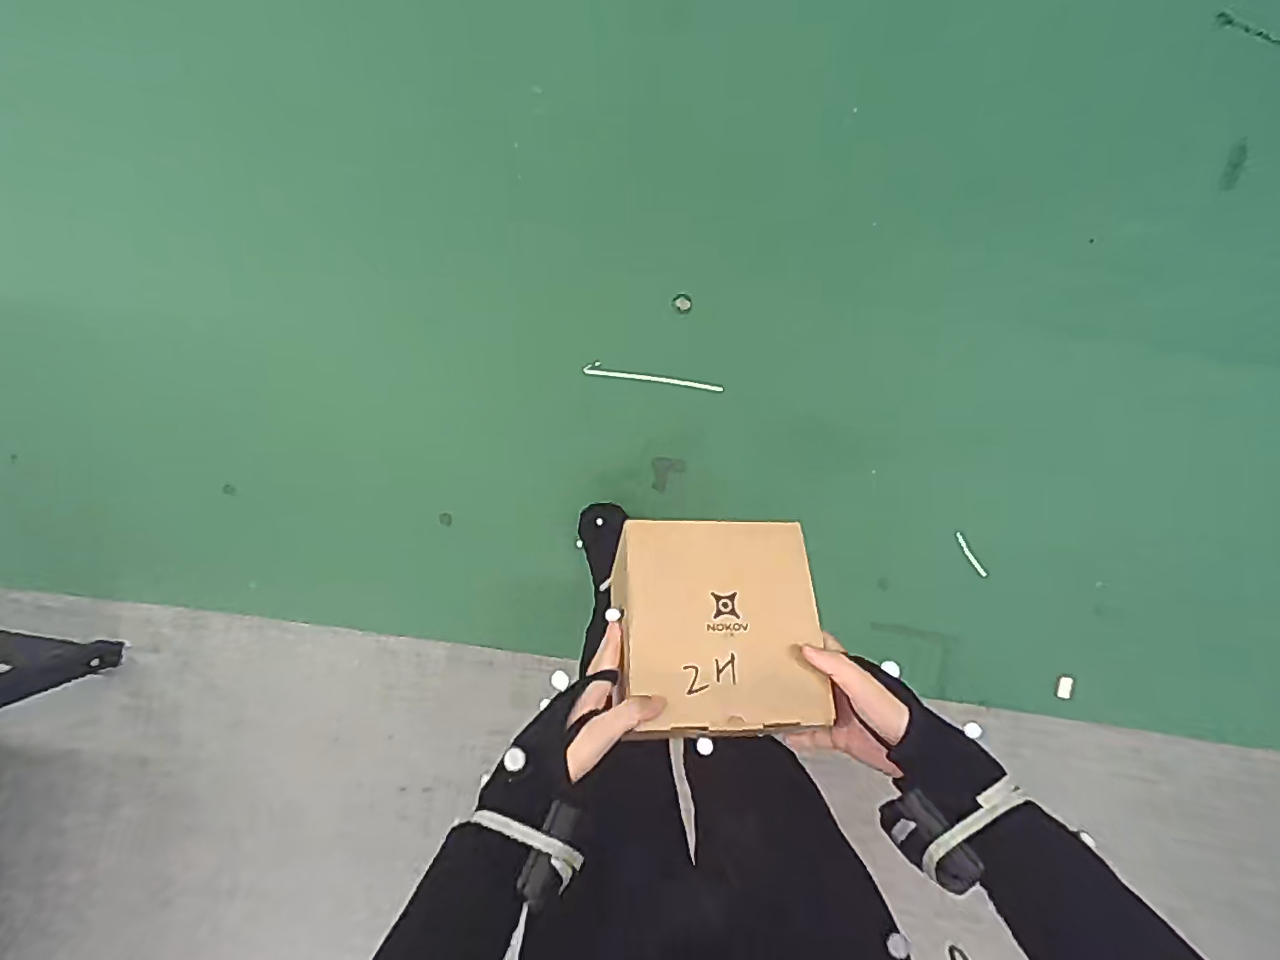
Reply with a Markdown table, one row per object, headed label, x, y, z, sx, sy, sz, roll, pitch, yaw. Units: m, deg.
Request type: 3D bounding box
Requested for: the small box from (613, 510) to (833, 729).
| label | x | y | z | sx | sy | sz | roll | pitch | yaw |
| --- | --- | --- | --- | --- | --- | --- | --- | --- | --- |
| small box | 0.063 | 0.144 | 0.529 | 0.168 | 0.176 | 0.179 | 3 | 64 | -7 |
